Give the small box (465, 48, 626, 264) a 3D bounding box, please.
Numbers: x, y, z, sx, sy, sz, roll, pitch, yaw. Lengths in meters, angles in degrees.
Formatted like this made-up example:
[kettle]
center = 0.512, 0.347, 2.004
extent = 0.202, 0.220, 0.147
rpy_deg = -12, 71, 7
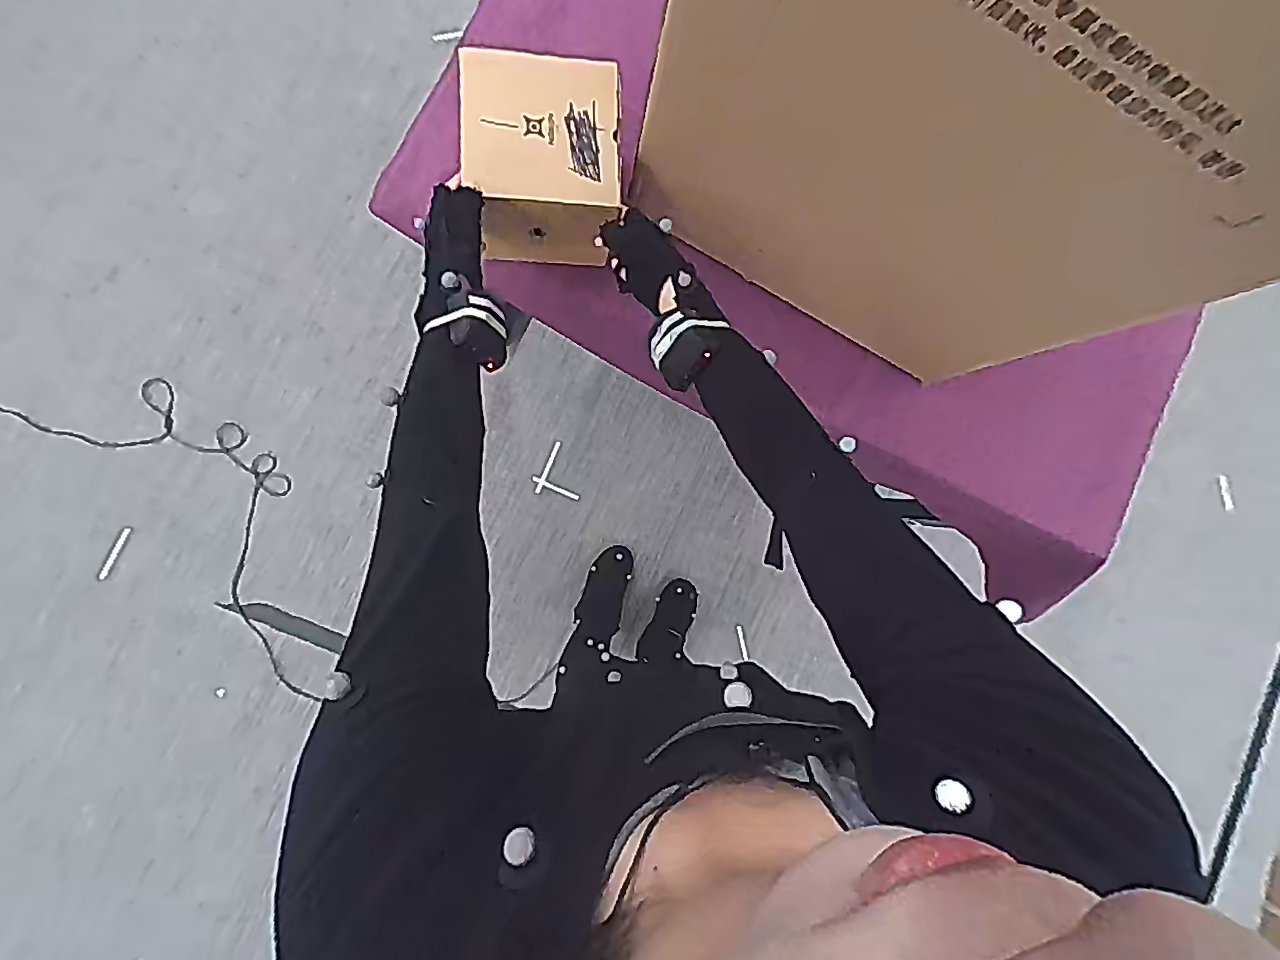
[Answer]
[small box]
center = -0.115, -0.384, 0.674
extent = 0.179, 0.176, 0.168
rpy_deg = -1, 89, -9
